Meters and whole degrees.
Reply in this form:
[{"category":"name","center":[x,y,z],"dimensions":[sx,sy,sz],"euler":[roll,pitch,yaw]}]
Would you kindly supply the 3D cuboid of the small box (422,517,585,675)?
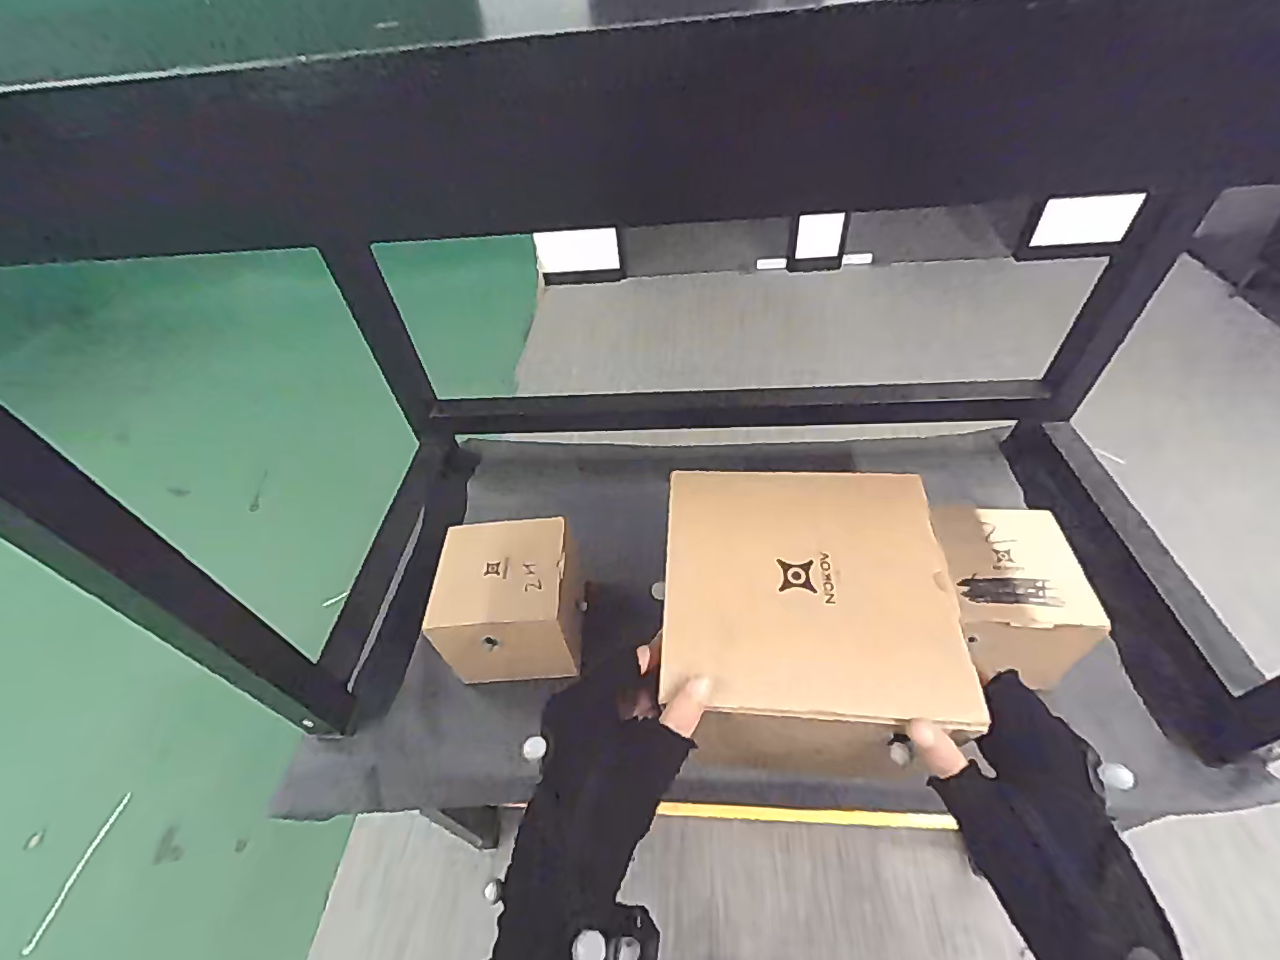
[{"category":"small box","center":[-0.185,0.173,0.791],"dimensions":[0.179,0.176,0.168],"euler":[-4,47,2]}]
